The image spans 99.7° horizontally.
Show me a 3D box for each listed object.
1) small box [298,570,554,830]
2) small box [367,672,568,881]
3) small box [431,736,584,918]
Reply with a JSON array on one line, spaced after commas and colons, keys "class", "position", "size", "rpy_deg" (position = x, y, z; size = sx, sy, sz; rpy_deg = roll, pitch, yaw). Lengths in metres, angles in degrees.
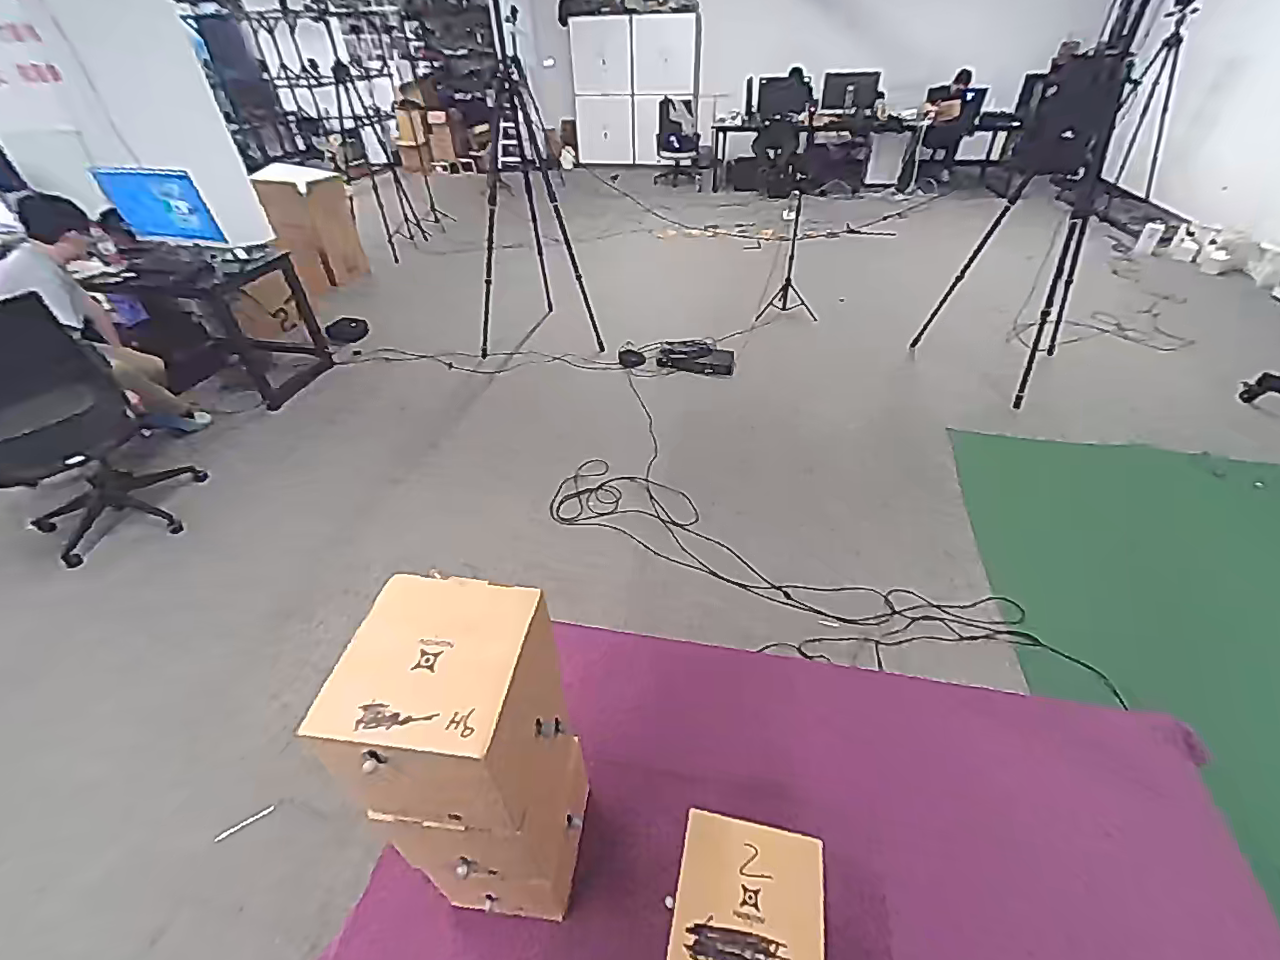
[{"class": "small box", "position": [-0.190, 0.218, 0.550], "size": [0.168, 0.176, 0.179], "rpy_deg": [4, 39, 7]}, {"class": "small box", "position": [-0.187, 0.347, 0.652], "size": [0.168, 0.176, 0.179], "rpy_deg": [2, 40, 6]}, {"class": "small box", "position": [-0.176, 0.474, 0.756], "size": [0.168, 0.176, 0.179], "rpy_deg": [3, 40, 6]}]
